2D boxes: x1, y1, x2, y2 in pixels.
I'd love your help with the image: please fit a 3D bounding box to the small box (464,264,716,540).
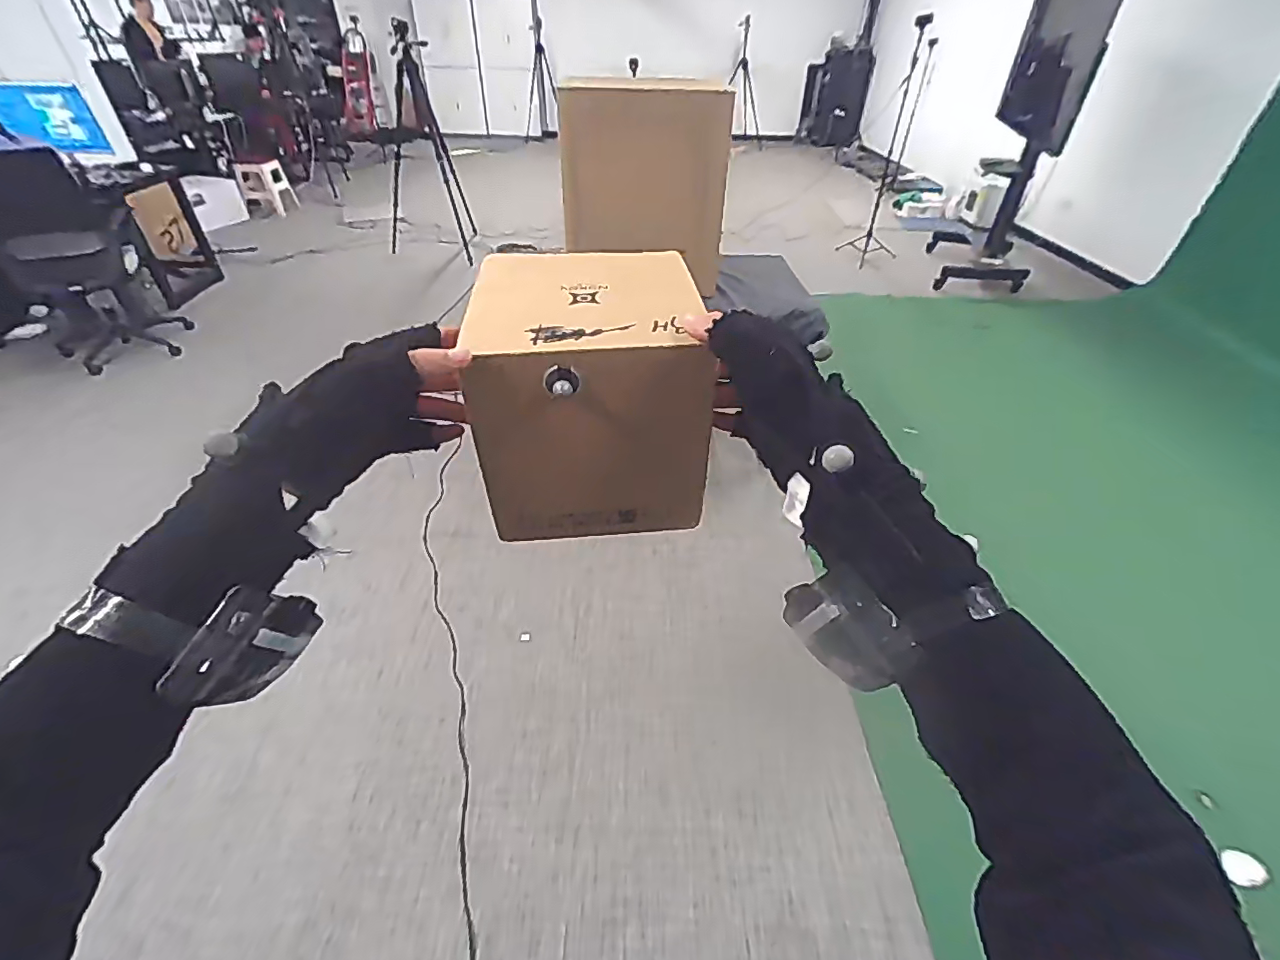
[{"bbox_3d":[-0.038,-0.070,0.459,0.168,0.176,0.179,-4,40,-4],"label":"small box"}]
